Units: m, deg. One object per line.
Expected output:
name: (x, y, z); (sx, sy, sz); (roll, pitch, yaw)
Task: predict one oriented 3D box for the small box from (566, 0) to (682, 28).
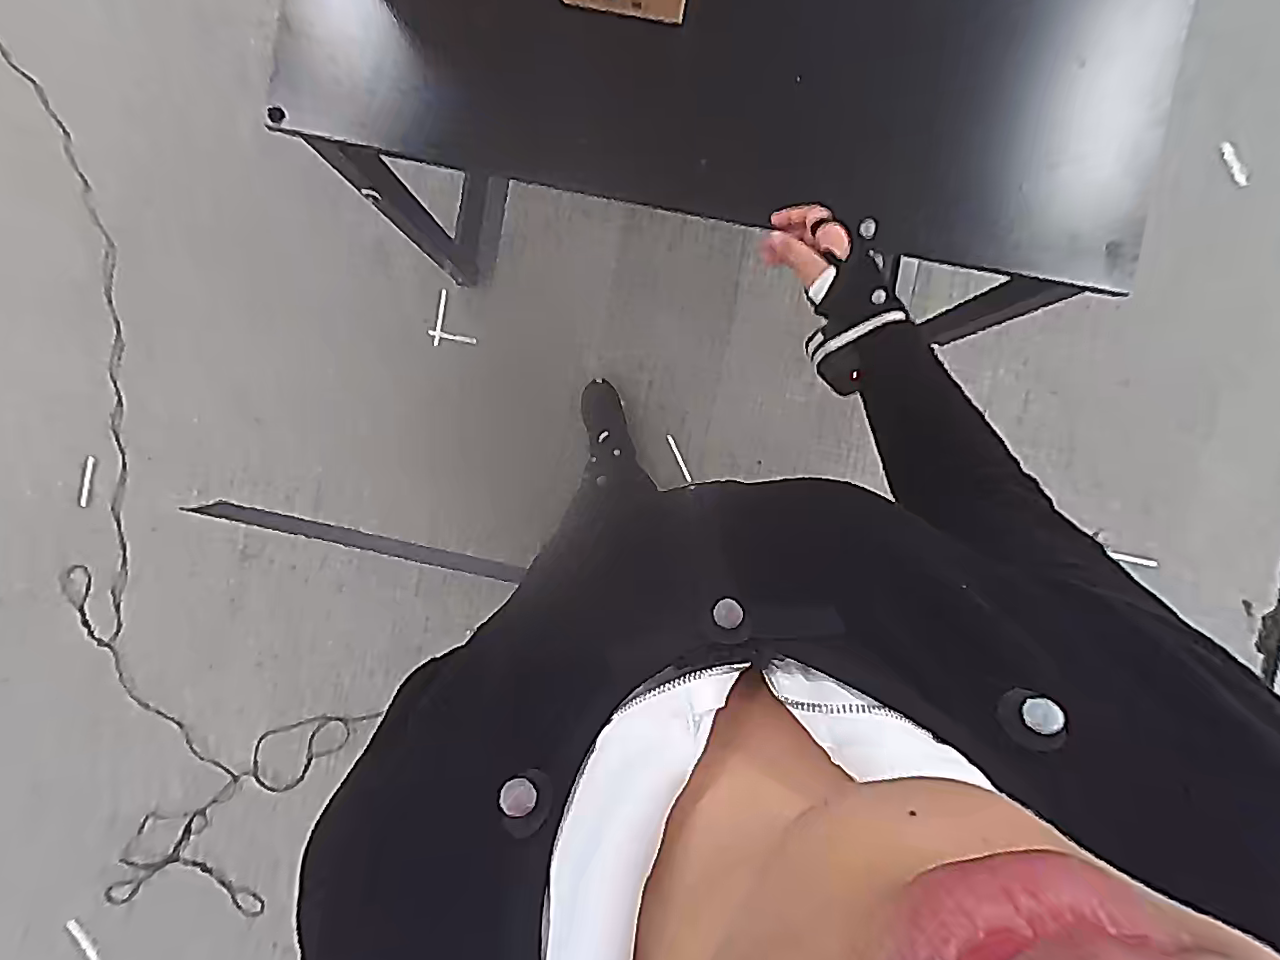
small box: (-0.014, -0.710, 0.652); (0.168, 0.176, 0.179); (10, 93, 0)
